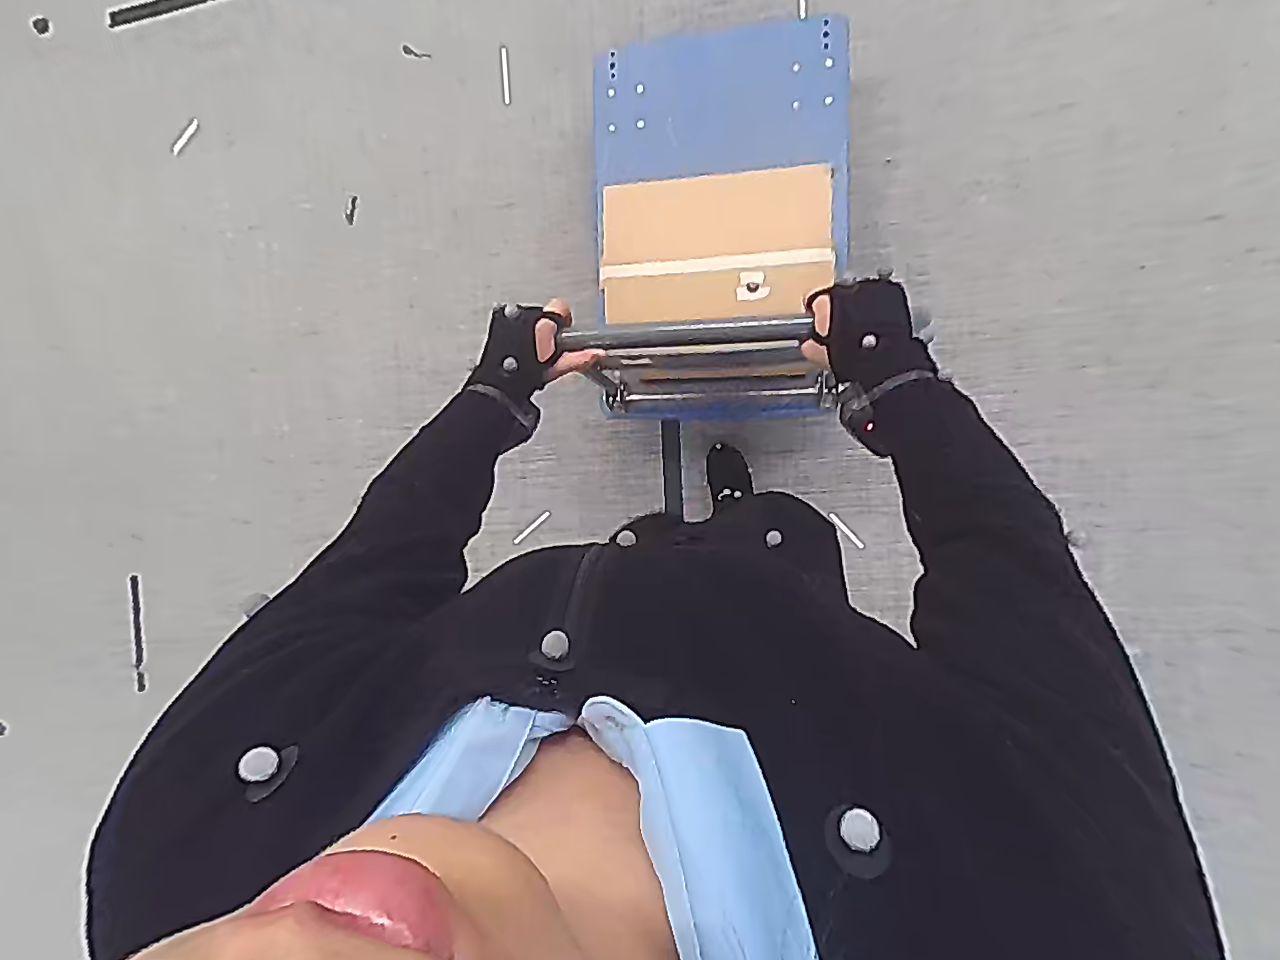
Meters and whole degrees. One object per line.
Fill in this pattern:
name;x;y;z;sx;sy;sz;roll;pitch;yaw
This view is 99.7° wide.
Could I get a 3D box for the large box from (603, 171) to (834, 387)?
large box;0.154;-0.372;1.098;0.408;0.320;0.320;-1;93;9
